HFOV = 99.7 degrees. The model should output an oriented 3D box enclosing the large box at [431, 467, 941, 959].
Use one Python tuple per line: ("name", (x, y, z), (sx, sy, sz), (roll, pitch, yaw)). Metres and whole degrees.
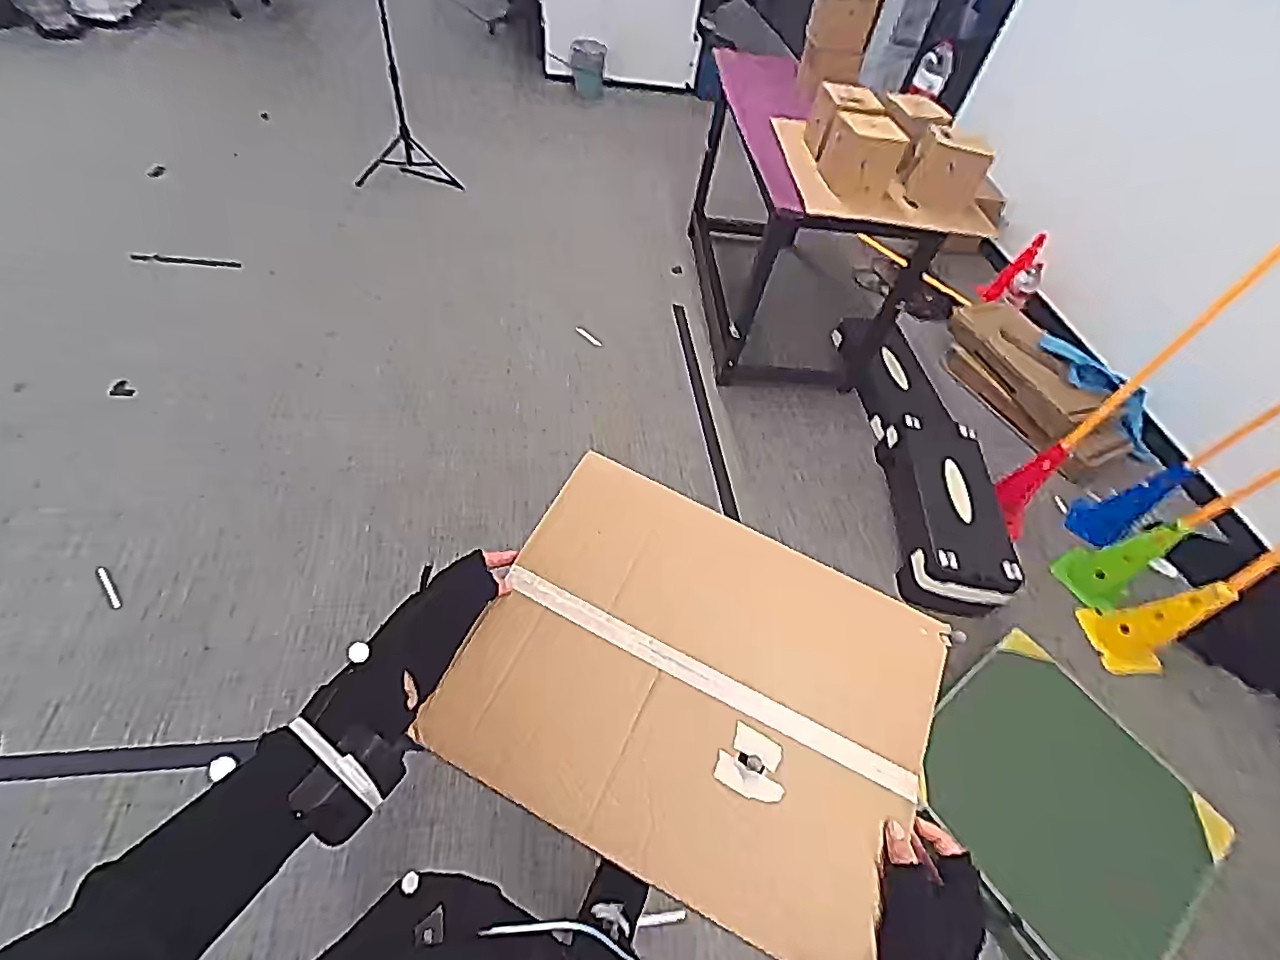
("large box", (0.045, 0.253, 0.631), (0.408, 0.320, 0.320), (27, 64, 7))
